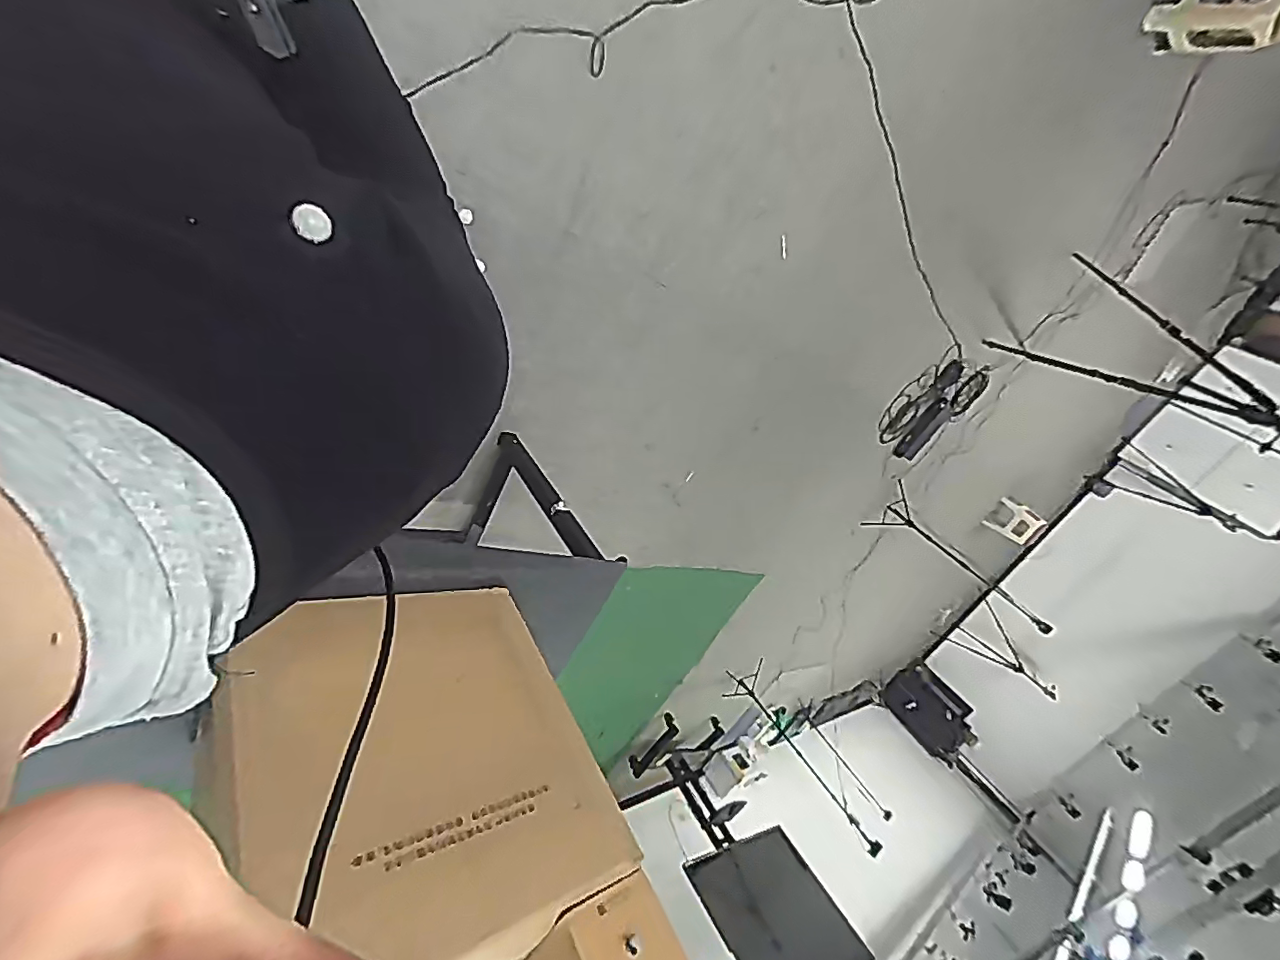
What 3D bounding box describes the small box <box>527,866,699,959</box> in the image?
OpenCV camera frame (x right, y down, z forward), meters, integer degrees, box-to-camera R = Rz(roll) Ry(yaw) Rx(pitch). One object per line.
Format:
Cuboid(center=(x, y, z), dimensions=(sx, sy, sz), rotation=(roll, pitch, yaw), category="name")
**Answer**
Cuboid(center=(-0.049, 0.738, 0.829), dimensions=(0.168, 0.176, 0.179), rotation=(6, 121, -45), category="small box")
